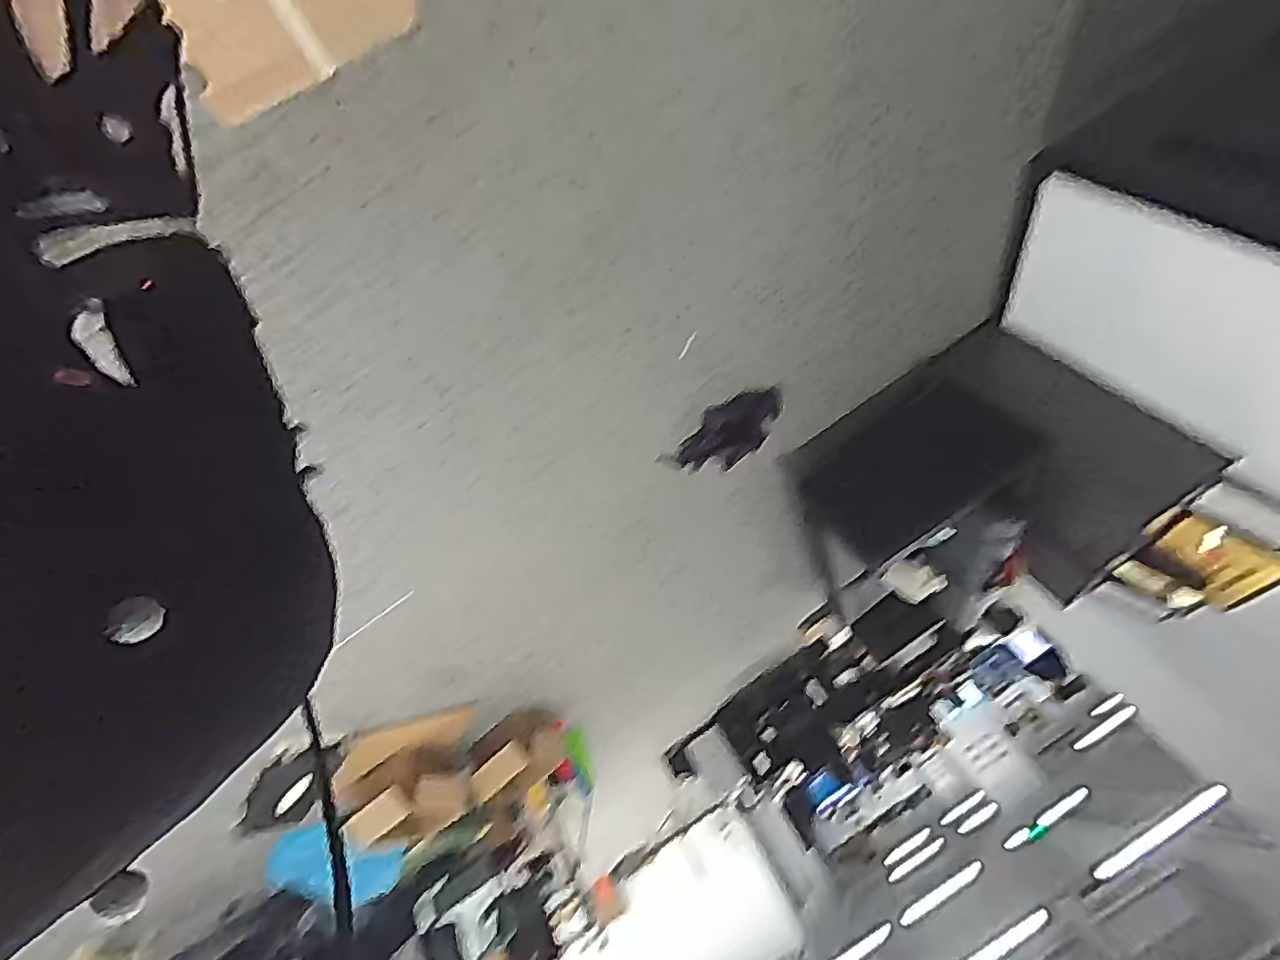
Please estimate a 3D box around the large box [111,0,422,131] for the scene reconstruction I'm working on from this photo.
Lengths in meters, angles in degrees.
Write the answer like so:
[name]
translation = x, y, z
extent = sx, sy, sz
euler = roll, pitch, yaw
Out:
[large box]
translation = -0.552, -0.748, 0.659
extent = 0.320, 0.320, 0.408
euler = -32, 146, -4
